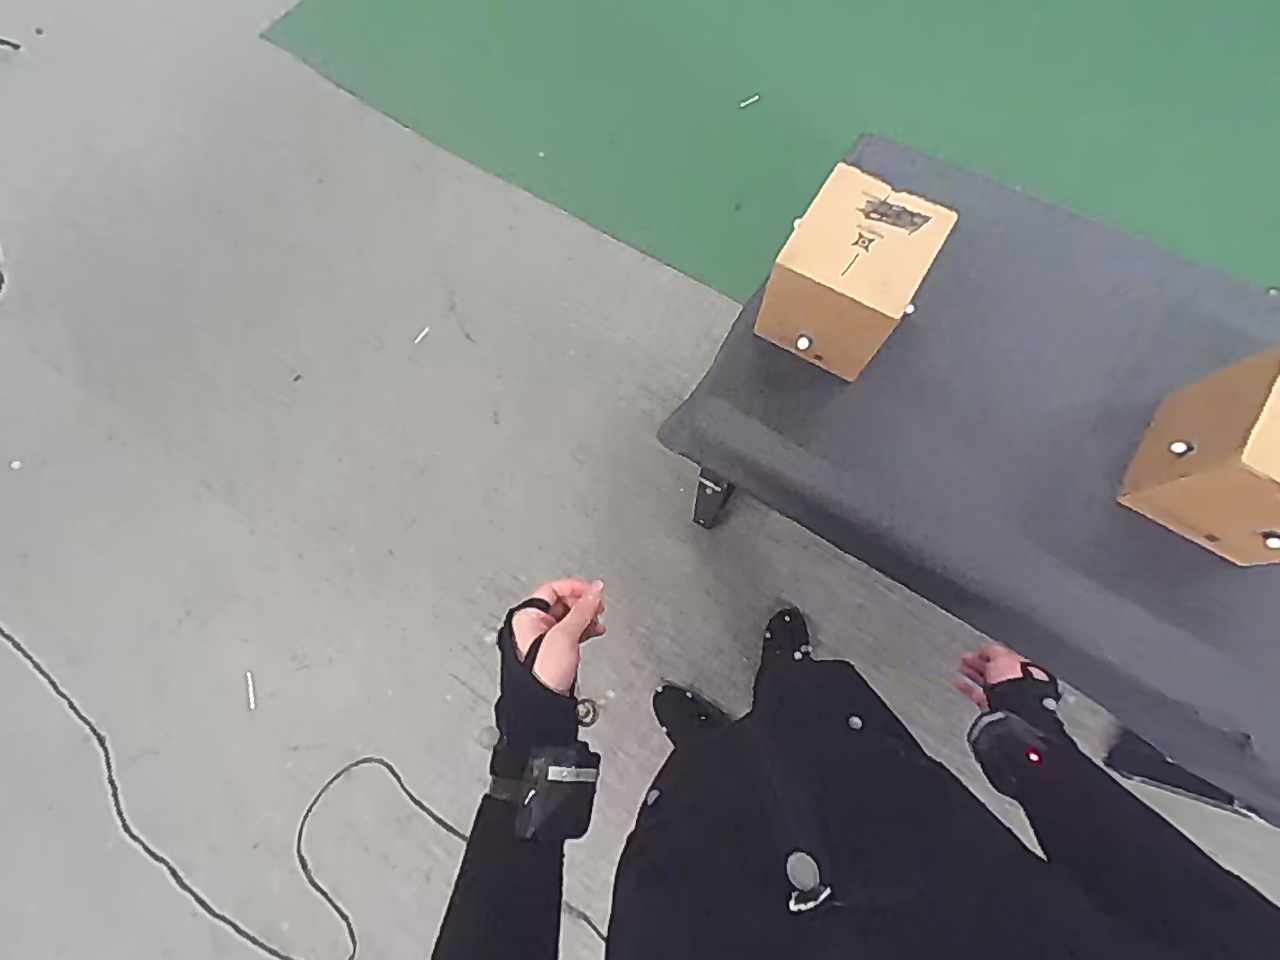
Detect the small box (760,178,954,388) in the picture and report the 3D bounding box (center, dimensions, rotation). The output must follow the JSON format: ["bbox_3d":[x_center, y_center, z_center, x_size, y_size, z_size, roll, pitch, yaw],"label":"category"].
[{"bbox_3d":[0.283,-0.261,0.749,0.168,0.176,0.179,31,78,10],"label":"small box"}]

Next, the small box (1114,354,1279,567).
[{"bbox_3d":[0.743,-0.011,0.660,0.168,0.176,0.179,32,78,10],"label":"small box"}]
